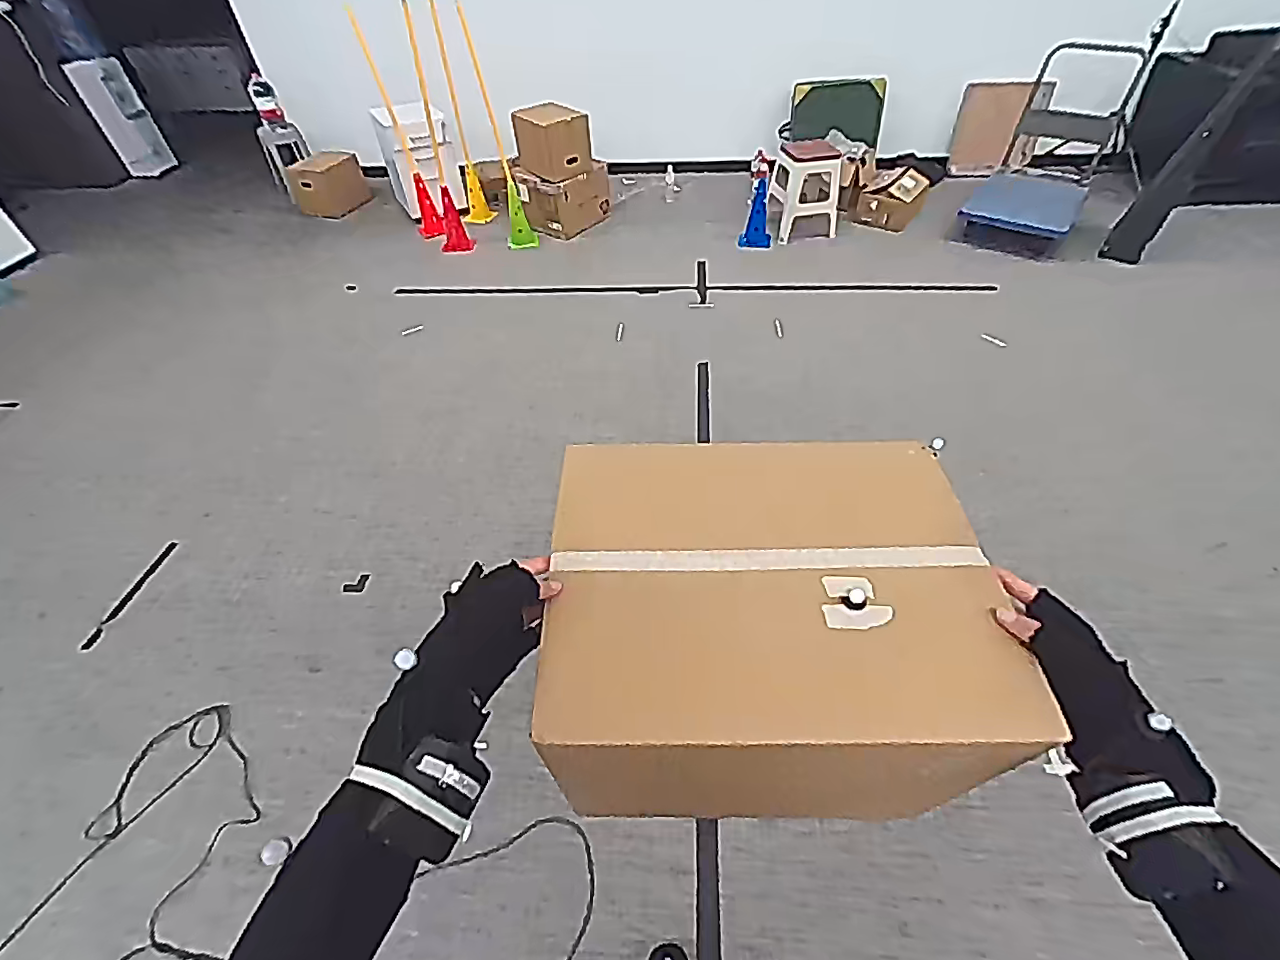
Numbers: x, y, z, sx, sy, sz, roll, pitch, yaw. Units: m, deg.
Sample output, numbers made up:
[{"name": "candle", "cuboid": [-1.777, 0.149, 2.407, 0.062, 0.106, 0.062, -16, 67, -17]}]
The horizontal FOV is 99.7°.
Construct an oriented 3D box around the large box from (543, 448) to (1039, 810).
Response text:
[{"name": "large box", "cuboid": [0.118, 0.178, 0.634, 0.408, 0.320, 0.320, 0, 50, 0]}]
